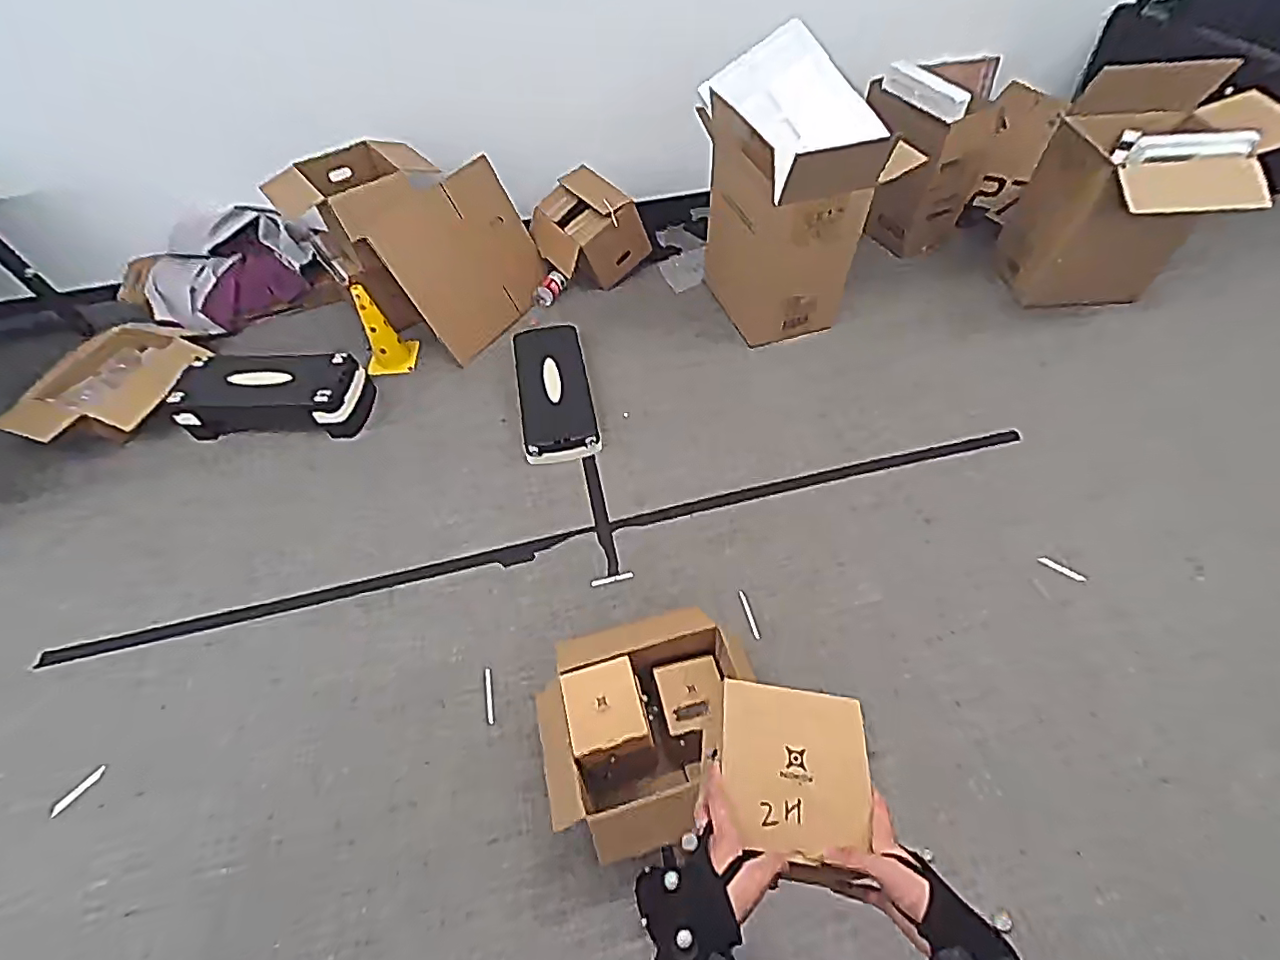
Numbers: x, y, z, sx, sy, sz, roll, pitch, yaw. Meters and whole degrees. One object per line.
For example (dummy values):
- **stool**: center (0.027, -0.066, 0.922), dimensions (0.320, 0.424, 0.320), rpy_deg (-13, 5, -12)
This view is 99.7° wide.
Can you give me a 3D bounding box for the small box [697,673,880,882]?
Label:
- **small box**: center (0.165, 0.360, 0.653), dimensions (0.168, 0.176, 0.179), rpy_deg (8, 50, 3)
